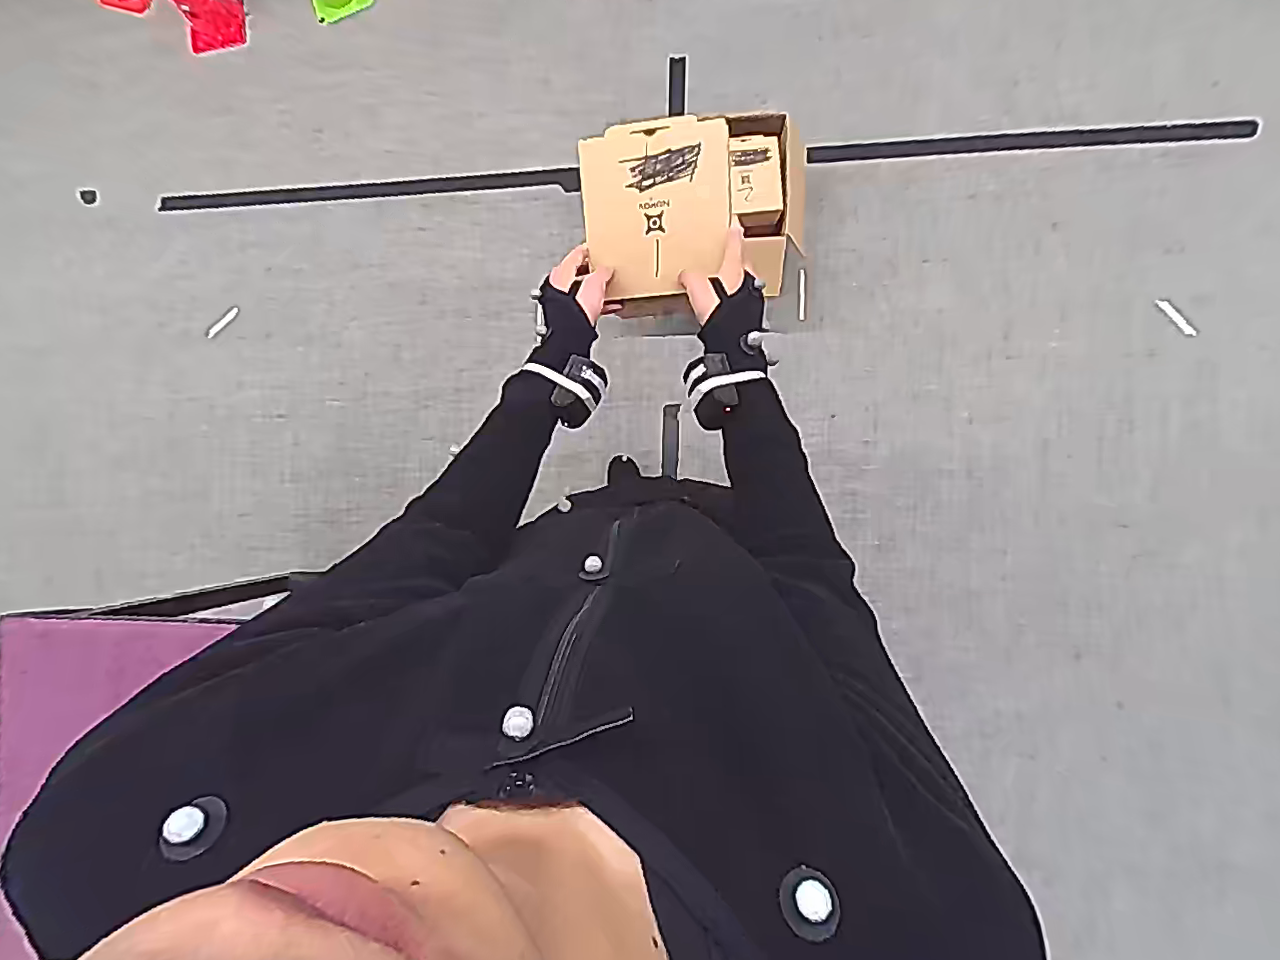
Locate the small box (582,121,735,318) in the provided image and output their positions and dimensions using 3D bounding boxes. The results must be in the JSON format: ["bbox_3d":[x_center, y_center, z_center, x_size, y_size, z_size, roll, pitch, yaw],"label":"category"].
[{"bbox_3d":[0.033,-0.308,0.678,0.168,0.176,0.179,-2,100,11],"label":"small box"}]
